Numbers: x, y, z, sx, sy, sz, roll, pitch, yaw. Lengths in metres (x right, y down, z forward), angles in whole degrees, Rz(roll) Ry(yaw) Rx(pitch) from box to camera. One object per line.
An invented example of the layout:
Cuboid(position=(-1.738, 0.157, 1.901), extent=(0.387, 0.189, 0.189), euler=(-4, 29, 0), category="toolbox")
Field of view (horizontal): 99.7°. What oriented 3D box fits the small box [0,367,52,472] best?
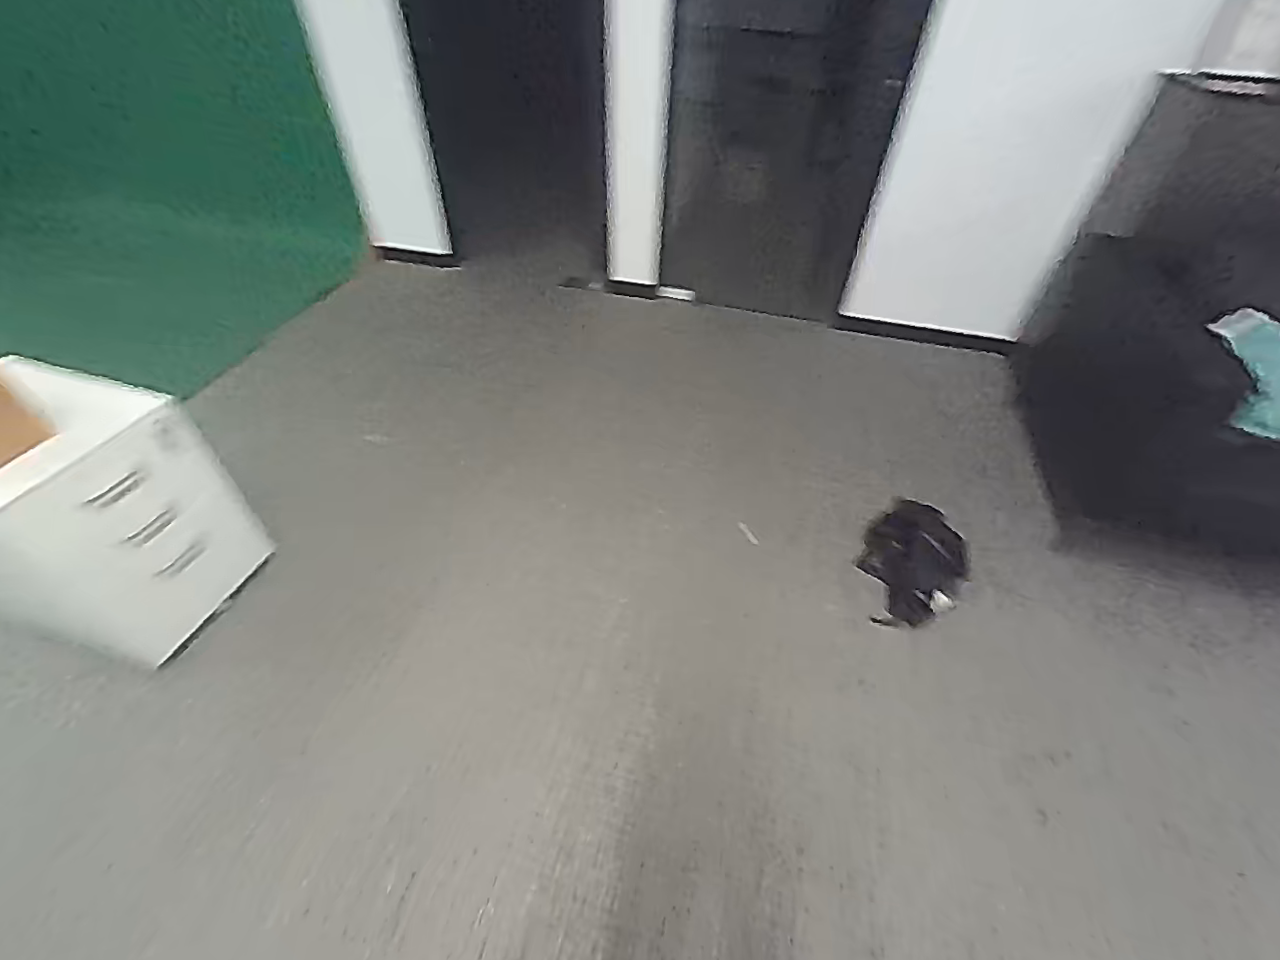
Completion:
Cuboid(position=(-1.307, -0.115, 1.035), extent=(0.168, 0.176, 0.179), euler=(13, 46, 9), category="small box")
